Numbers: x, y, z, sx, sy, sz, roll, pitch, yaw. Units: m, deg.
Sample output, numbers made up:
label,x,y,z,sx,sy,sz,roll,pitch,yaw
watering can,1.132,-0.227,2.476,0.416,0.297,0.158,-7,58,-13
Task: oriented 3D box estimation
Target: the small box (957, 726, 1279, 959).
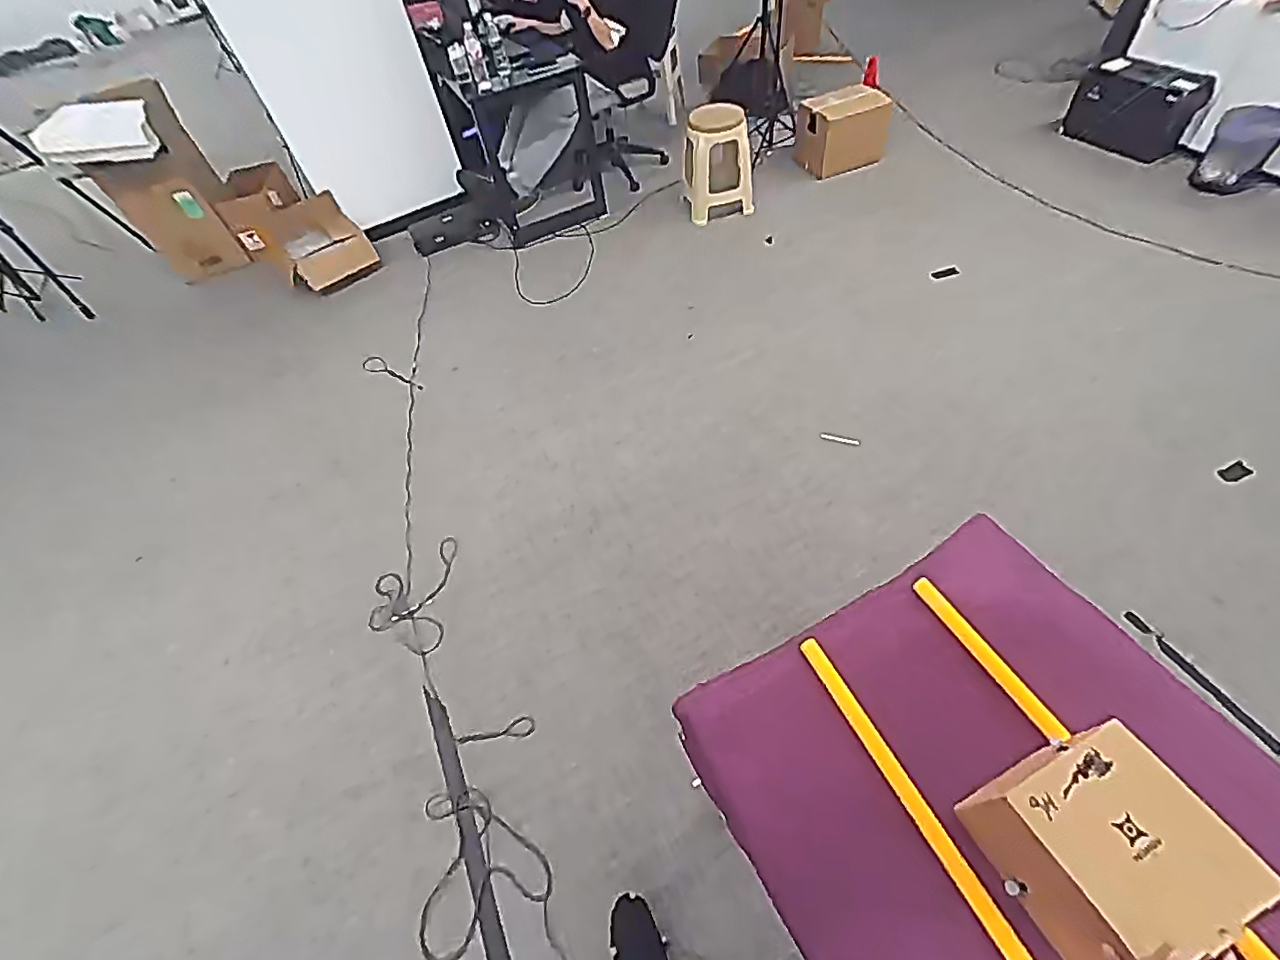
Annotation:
label,x,y,z,sx,sy,sz,roll,pitch,yaw
small box,0.503,0.408,0.601,0.168,0.176,0.179,-25,55,-10
